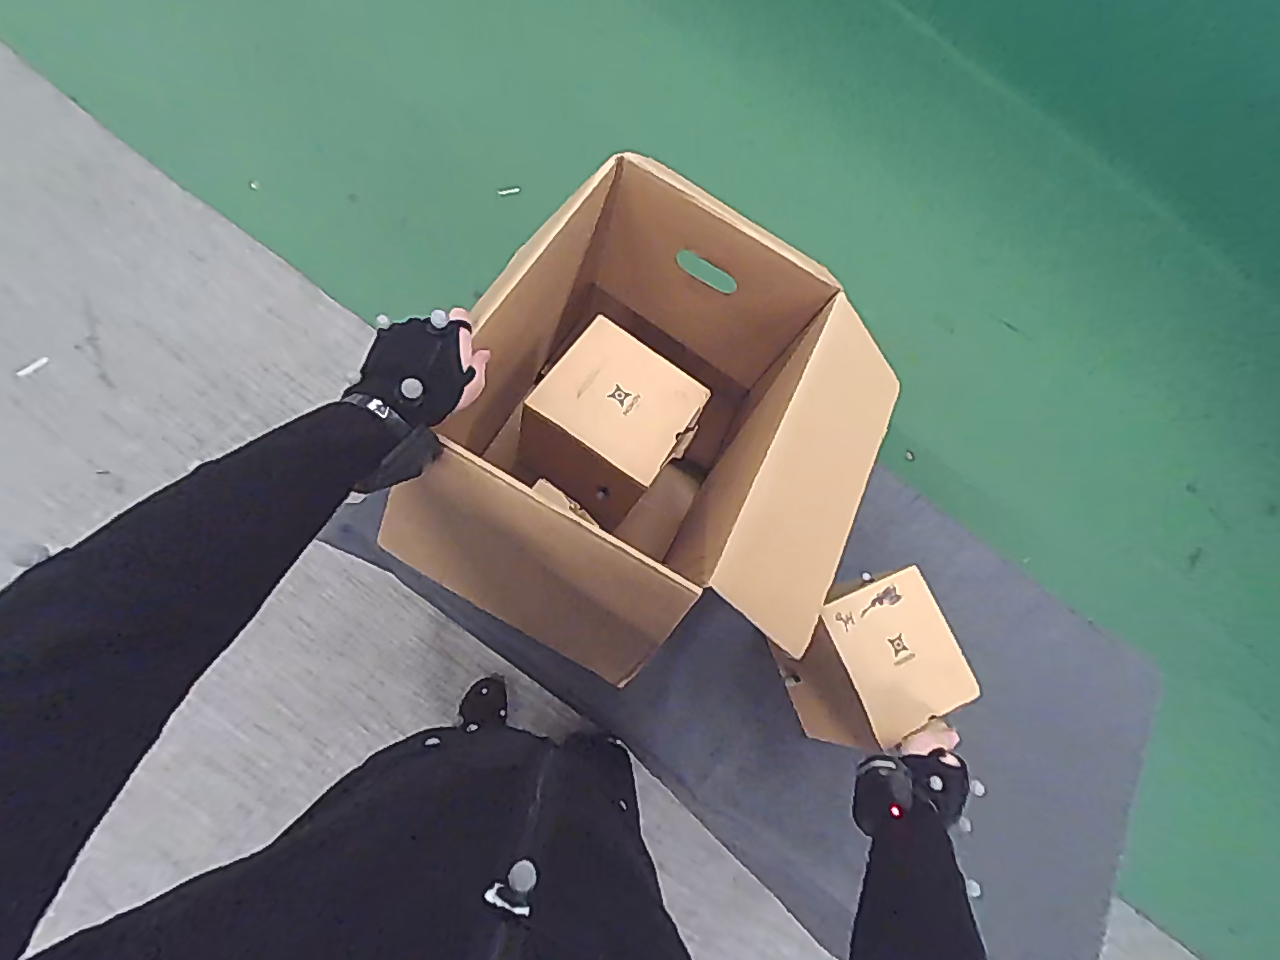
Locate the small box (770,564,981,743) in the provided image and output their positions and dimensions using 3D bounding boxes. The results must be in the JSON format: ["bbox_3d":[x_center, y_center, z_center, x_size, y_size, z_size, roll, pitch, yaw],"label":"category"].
[{"bbox_3d":[0.309,0.230,0.744,0.168,0.176,0.179,-16,77,-16],"label":"small box"}]
